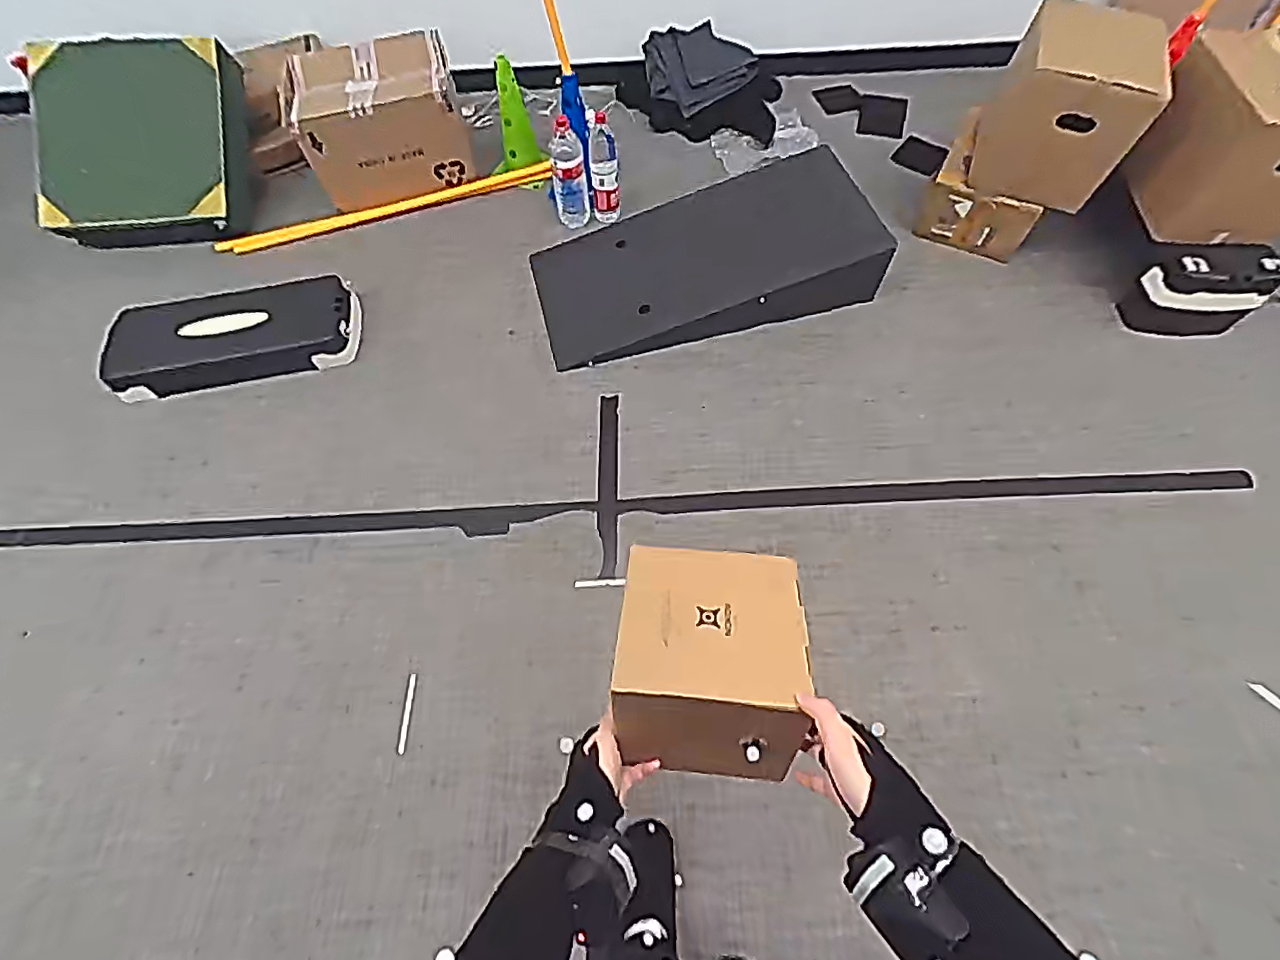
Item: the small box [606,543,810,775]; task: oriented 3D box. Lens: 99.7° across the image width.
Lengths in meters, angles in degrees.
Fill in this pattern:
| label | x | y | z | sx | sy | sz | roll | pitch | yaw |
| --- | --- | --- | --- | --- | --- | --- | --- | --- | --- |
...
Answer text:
| label | x | y | z | sx | sy | sz | roll | pitch | yaw |
| --- | --- | --- | --- | --- | --- | --- | --- | --- | --- |
| small box | 0.066 | 0.189 | 0.569 | 0.179 | 0.176 | 0.168 | 4 | 42 | 5 |
